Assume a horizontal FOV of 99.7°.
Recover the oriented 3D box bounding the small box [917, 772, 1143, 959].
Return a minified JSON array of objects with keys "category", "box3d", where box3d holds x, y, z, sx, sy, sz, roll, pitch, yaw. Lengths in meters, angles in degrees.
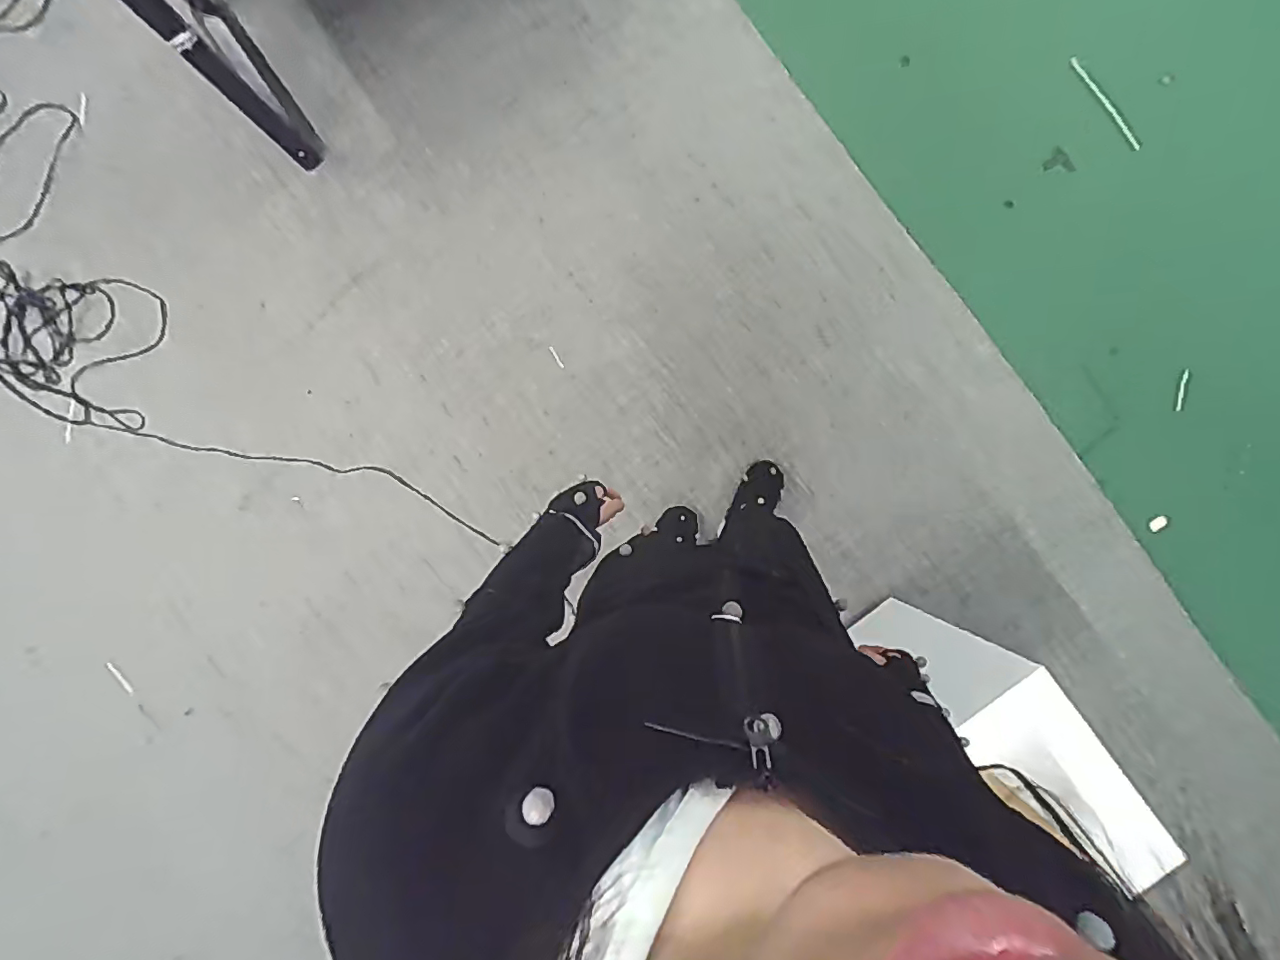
[{"category":"small box","box3d":[0.560,0.585,0.803,0.168,0.176,0.179,-34,89,0]}]
